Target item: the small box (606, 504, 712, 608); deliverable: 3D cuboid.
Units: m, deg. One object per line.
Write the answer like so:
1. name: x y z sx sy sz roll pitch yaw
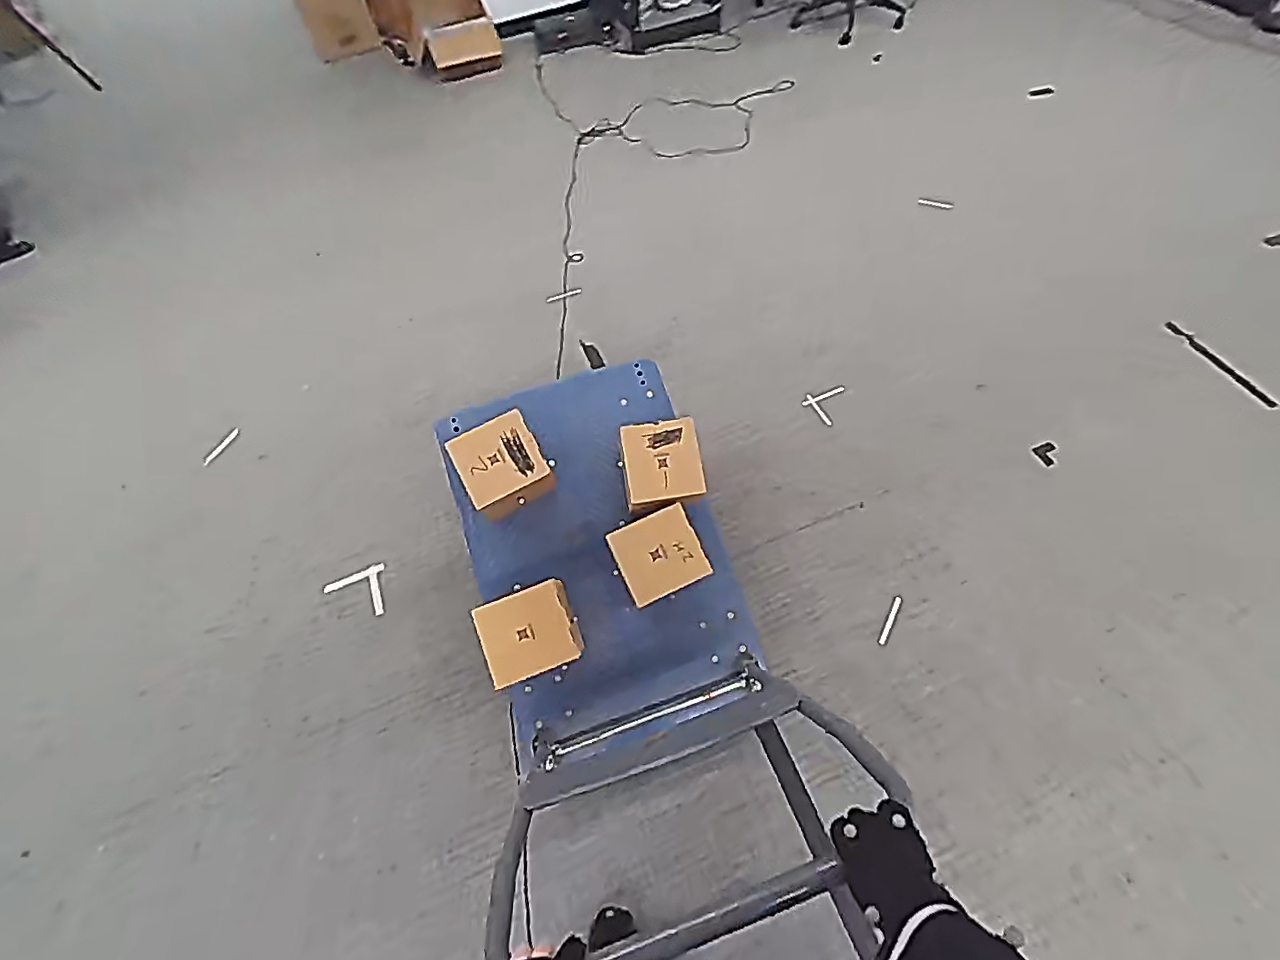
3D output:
1. small box: 0.038 0.174 1.200 0.179 0.176 0.168 -25 80 -7

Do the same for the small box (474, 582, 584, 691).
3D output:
1. small box: -0.230 0.330 1.157 0.179 0.176 0.168 -21 80 -8

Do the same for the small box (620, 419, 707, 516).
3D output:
1. small box: 0.046 -0.024 1.243 0.168 0.176 0.179 -9 79 -4
